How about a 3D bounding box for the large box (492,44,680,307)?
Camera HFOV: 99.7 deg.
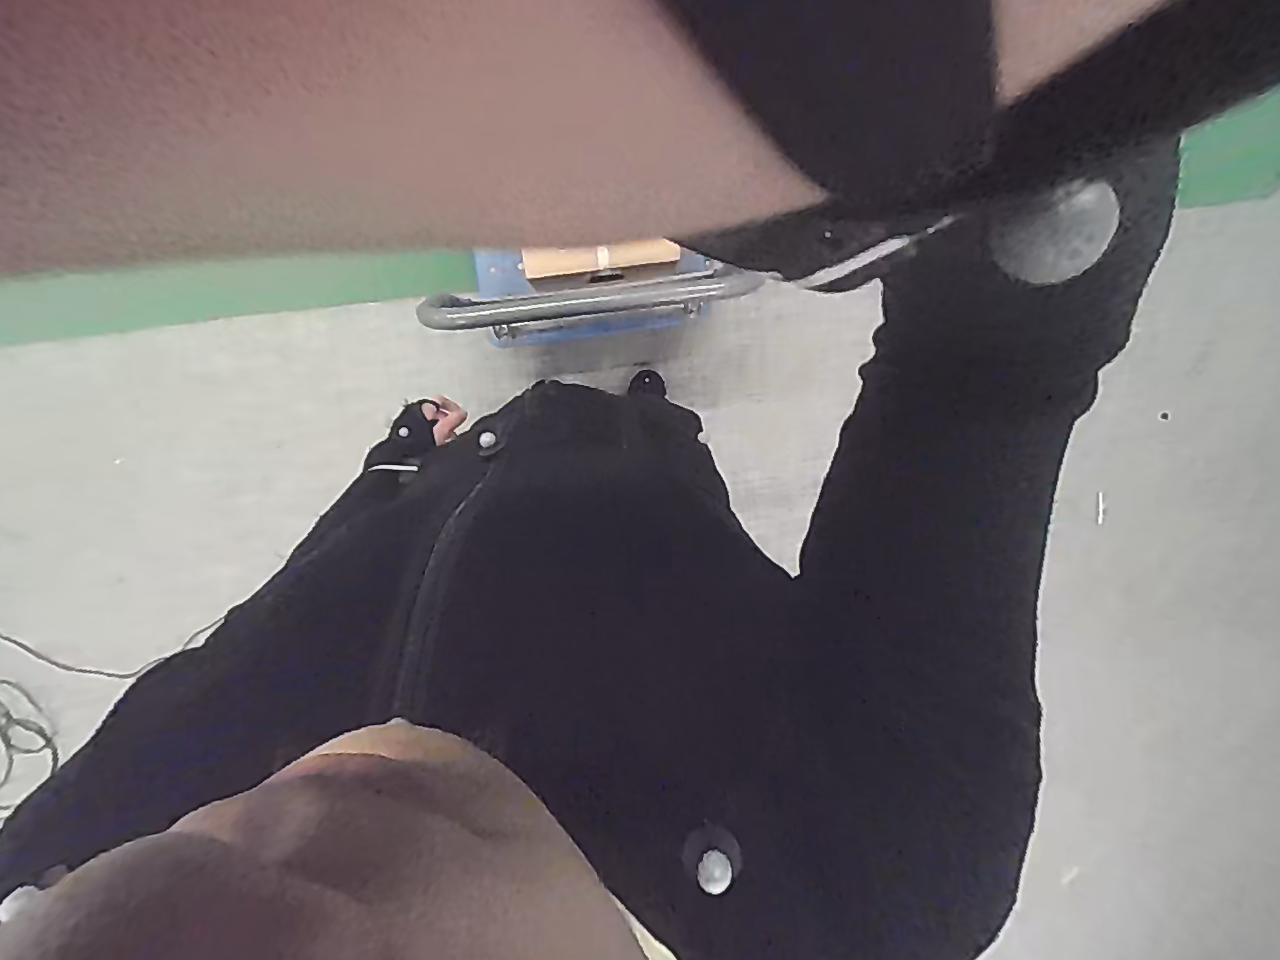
[{"bbox_3d":[-0.105,-0.629,1.192,0.320,0.320,0.408,-8,99,-2],"label":"large box"}]
